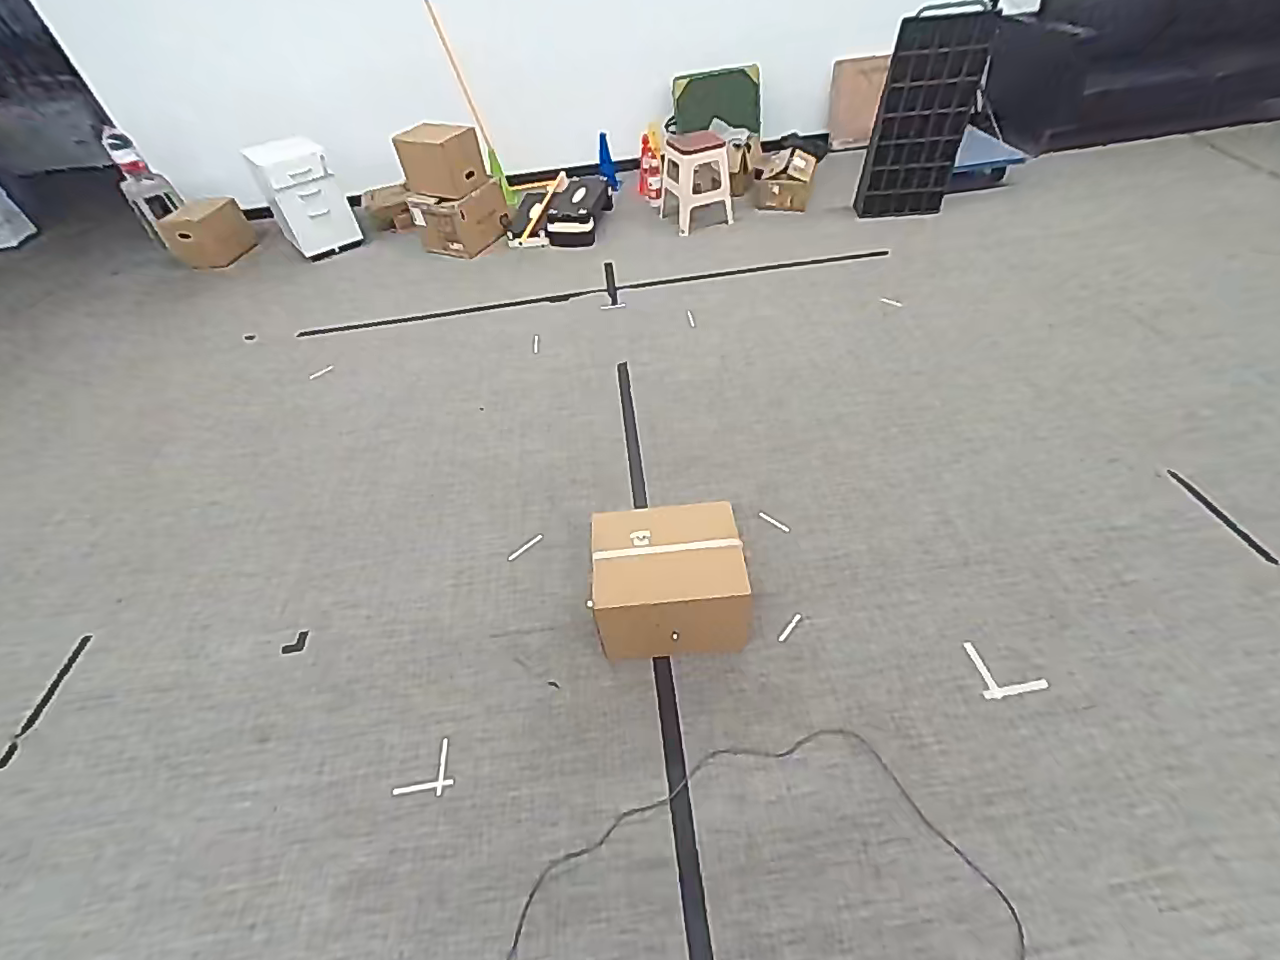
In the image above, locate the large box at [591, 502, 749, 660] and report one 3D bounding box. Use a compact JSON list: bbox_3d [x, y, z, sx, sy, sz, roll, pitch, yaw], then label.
[{"bbox_3d":[0.083,0.297,1.570,0.408,0.320,0.320,-6,46,1],"label":"large box"}]
